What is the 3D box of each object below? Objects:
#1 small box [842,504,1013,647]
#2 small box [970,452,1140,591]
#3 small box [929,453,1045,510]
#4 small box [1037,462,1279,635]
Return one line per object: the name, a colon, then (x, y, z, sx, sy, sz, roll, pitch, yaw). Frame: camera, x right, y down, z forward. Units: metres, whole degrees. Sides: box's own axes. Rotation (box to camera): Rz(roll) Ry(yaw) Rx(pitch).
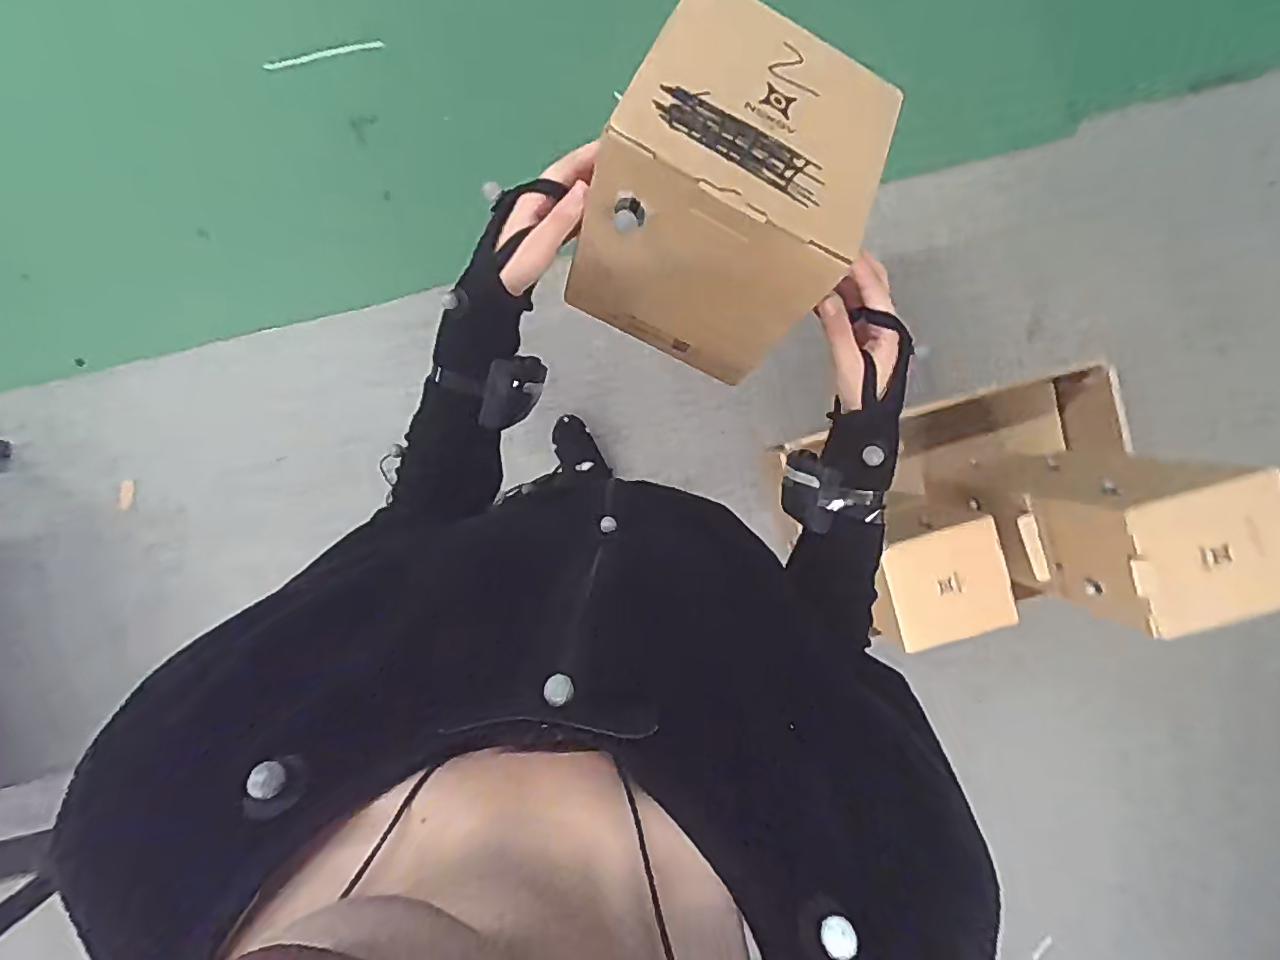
small box: (0.448, 0.145, 0.875, 0.179, 0.176, 0.168, -16, 94, 0)
small box: (0.669, 0.059, 0.872, 0.179, 0.176, 0.168, -20, 94, 3)
small box: (0.683, 0.051, 1.035, 0.179, 0.176, 0.168, -18, 95, 4)
small box: (0.665, 0.079, 0.710, 0.179, 0.176, 0.168, -17, 95, 3)
